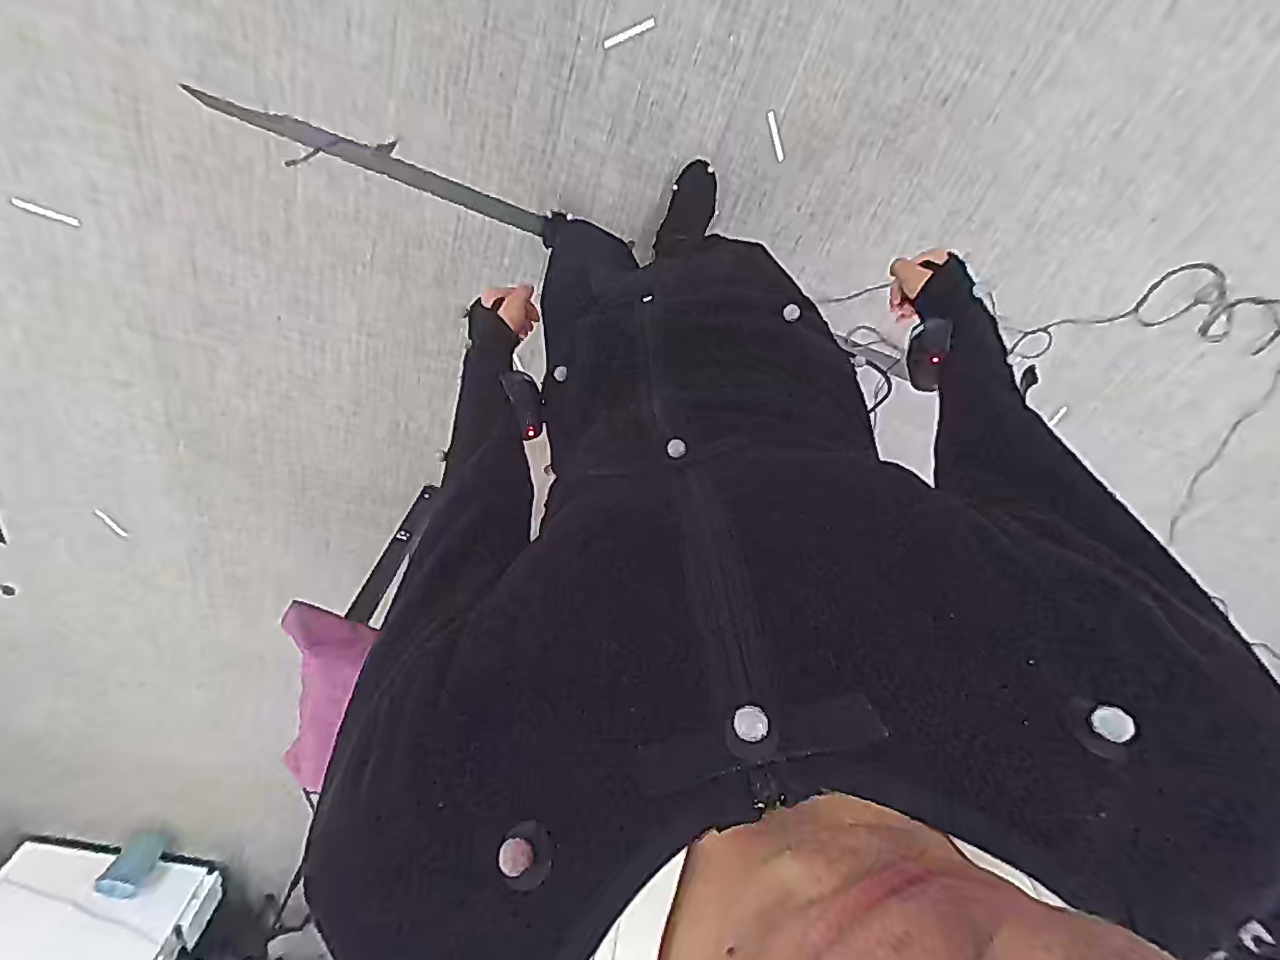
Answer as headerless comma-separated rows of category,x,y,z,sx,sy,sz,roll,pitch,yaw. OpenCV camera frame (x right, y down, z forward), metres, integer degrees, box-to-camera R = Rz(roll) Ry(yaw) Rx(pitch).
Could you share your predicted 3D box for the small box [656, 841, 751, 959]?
small box,0.148,1.015,1.311,0.168,0.176,0.179,19,121,-10
